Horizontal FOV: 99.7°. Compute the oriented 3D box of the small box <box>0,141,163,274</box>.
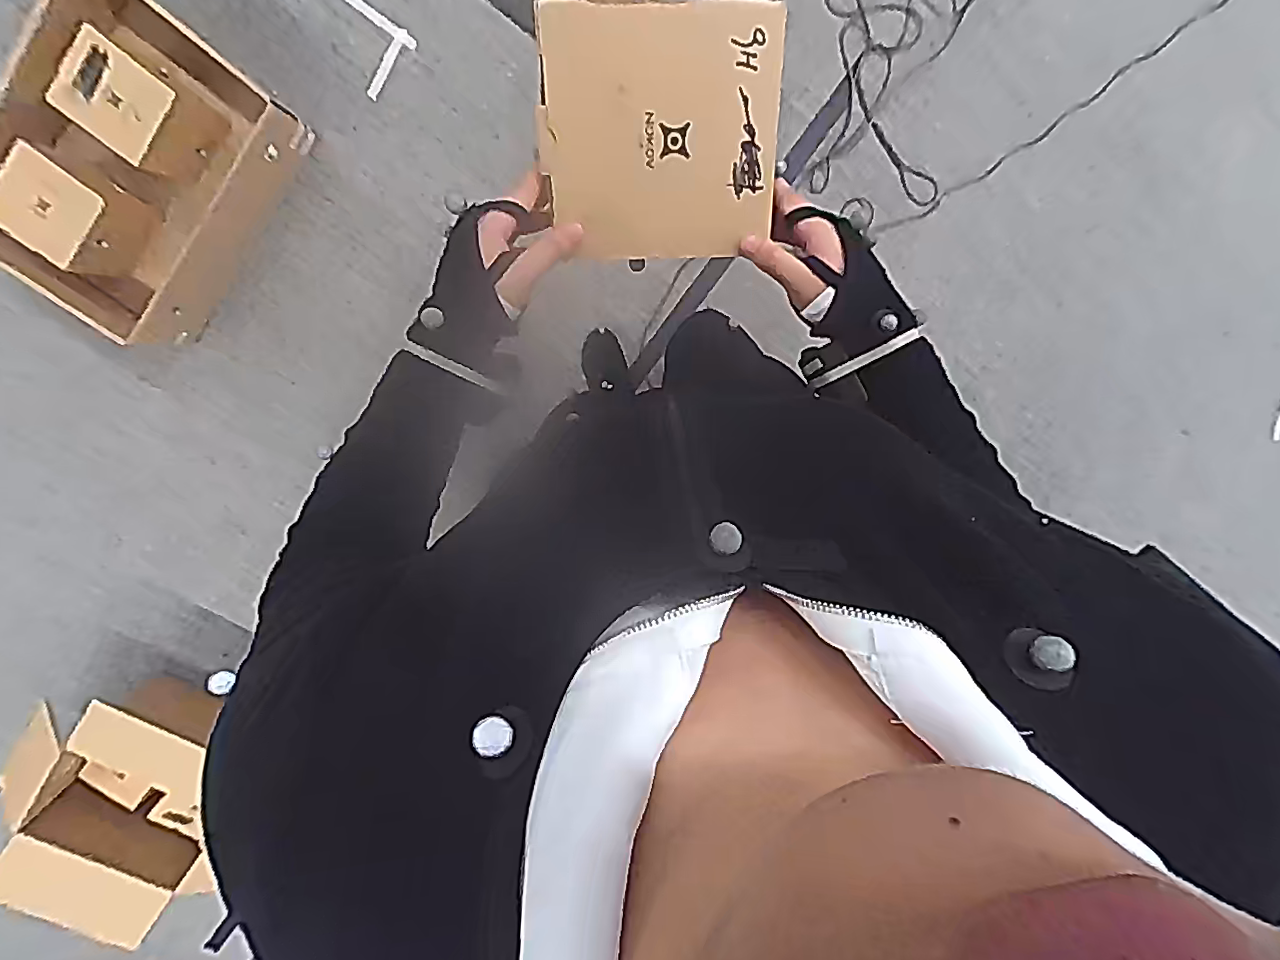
[{"bbox_3d":[-1.177,-0.559,1.142,0.168,0.176,0.179,38,99,-16],"label":"small box"}]

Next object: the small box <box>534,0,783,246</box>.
[{"bbox_3d":[0.010,-0.298,0.478,0.179,0.176,0.168,-3,114,-3],"label":"small box"}]
